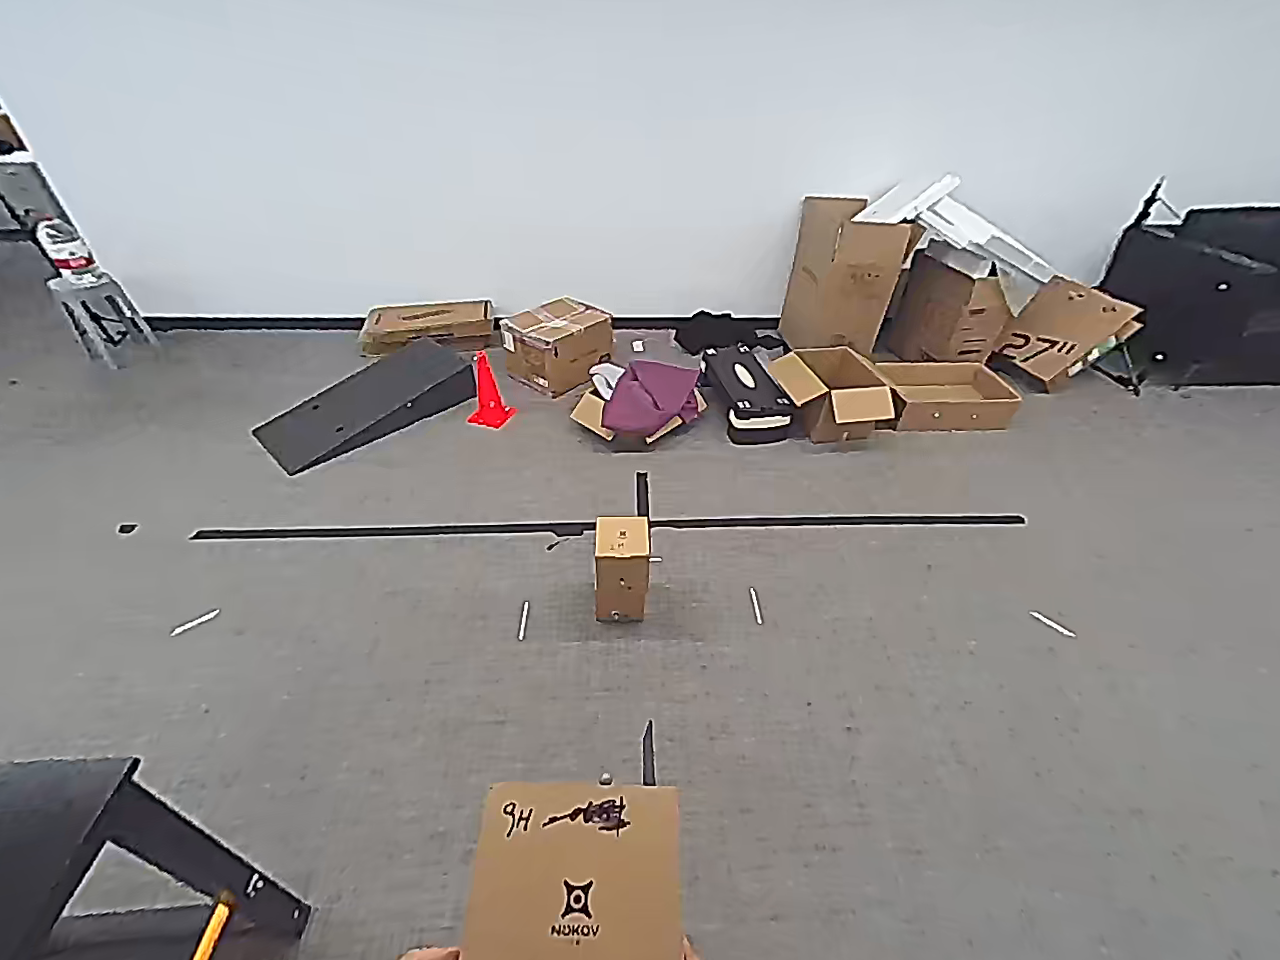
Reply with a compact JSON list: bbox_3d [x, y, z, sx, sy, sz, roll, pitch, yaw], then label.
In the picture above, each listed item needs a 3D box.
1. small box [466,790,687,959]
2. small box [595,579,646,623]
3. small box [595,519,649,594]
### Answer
[{"bbox_3d":[-0.046,0.382,0.468,0.168,0.176,0.179,1,51,-1],"label":"small box"},{"bbox_3d":[-0.067,0.367,1.843,0.168,0.176,0.179,-1,40,-2],"label":"small box"},{"bbox_3d":[-0.057,0.244,1.733,0.168,0.176,0.179,-1,39,-1],"label":"small box"}]
